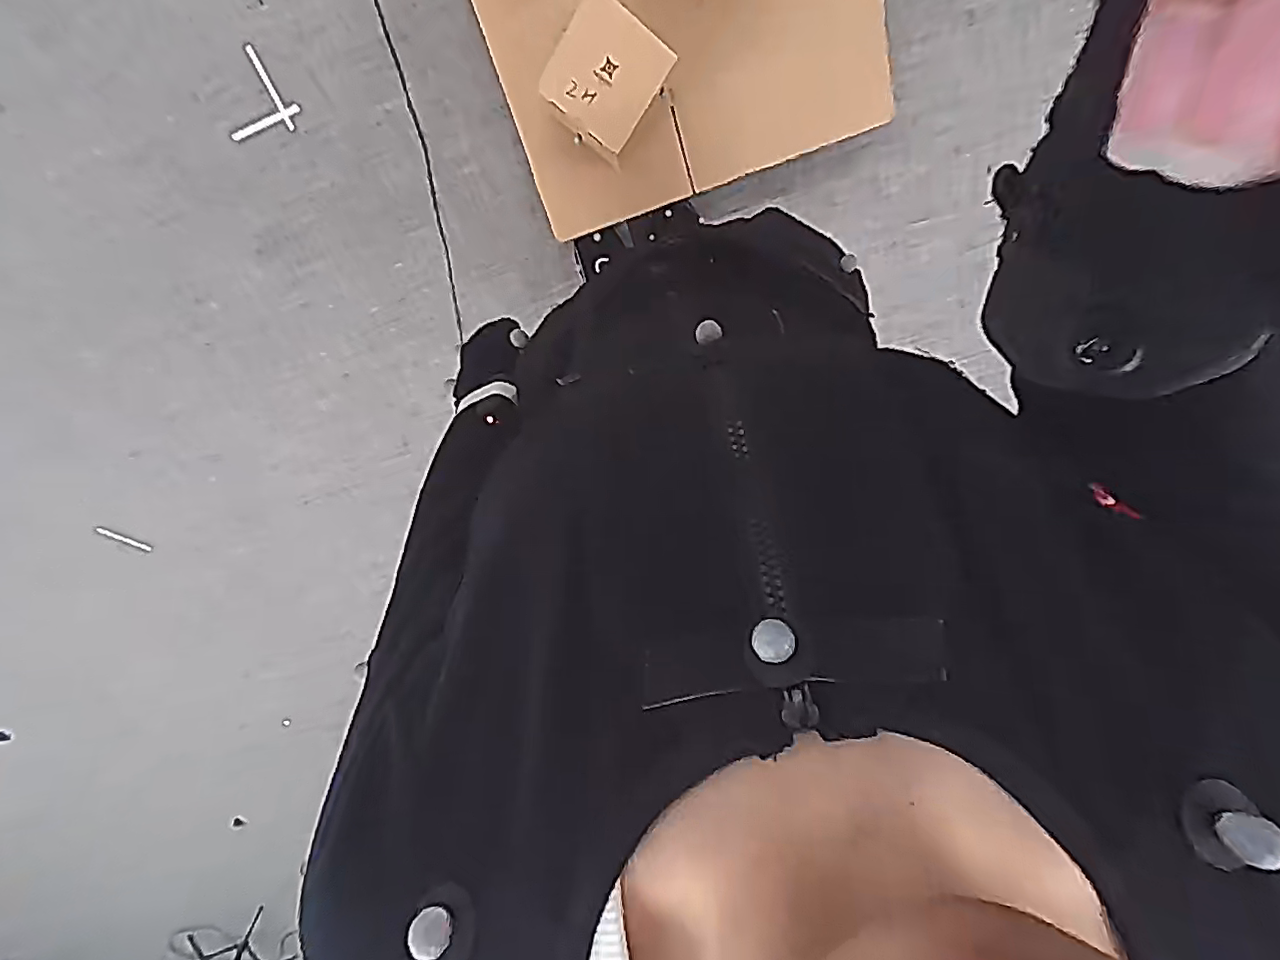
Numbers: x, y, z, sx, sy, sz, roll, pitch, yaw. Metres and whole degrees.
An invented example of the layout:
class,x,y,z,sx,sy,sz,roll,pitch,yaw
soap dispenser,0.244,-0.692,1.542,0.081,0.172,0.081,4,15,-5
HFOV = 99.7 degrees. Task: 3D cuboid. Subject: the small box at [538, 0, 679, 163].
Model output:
class,x,y,z,sx,sy,sz,roll,pitch,yaw
small box,-0.055,-0.693,0.943,0.168,0.176,0.179,34,109,-14
